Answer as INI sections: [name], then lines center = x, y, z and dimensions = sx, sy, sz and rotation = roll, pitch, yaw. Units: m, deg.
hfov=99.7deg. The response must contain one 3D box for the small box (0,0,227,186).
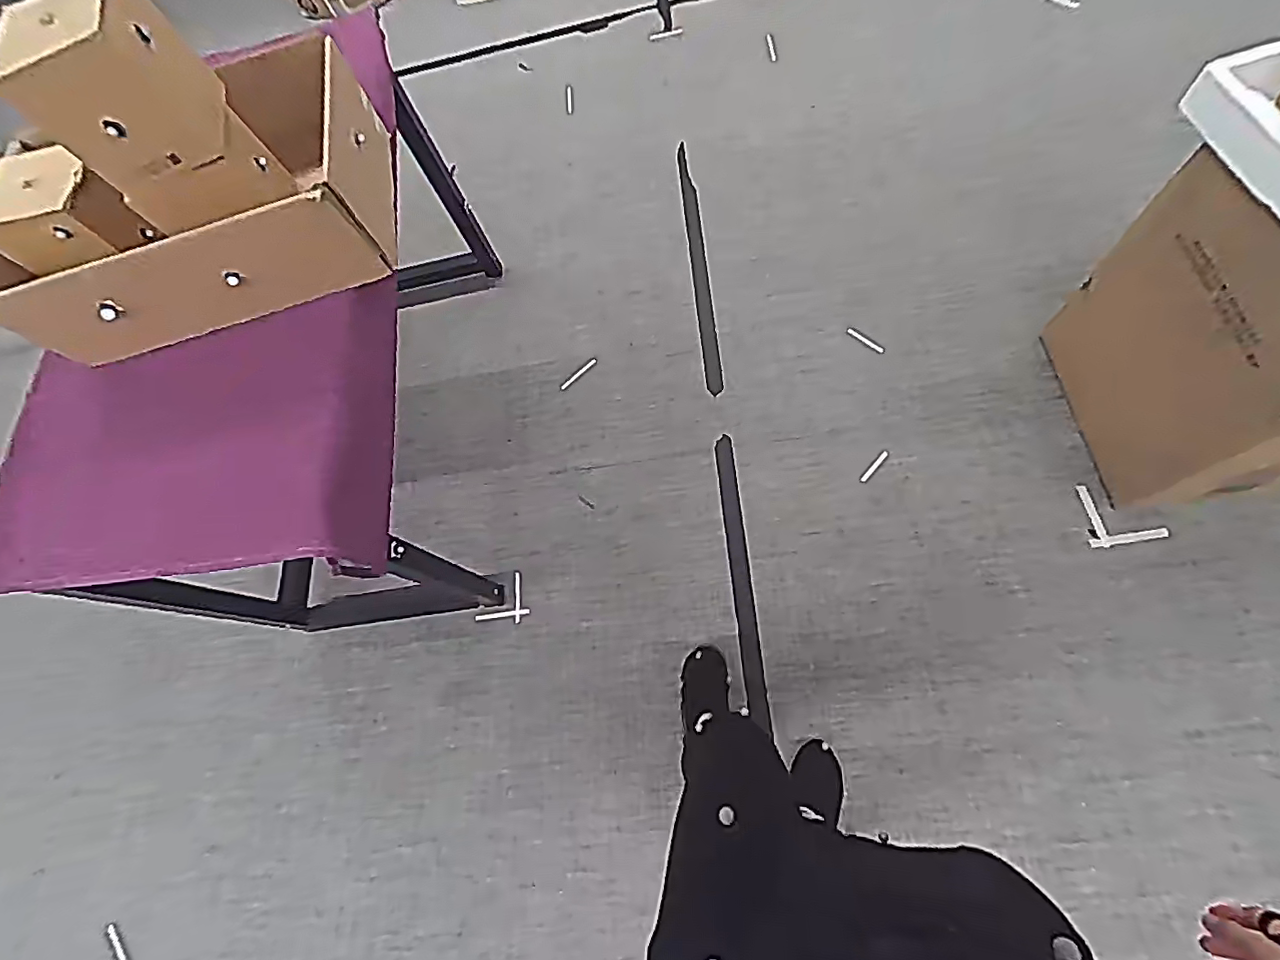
[small box]
center = -0.720, -0.547, 0.754
dimensions = 0.168, 0.176, 0.179
rotation = -20, 66, 4
